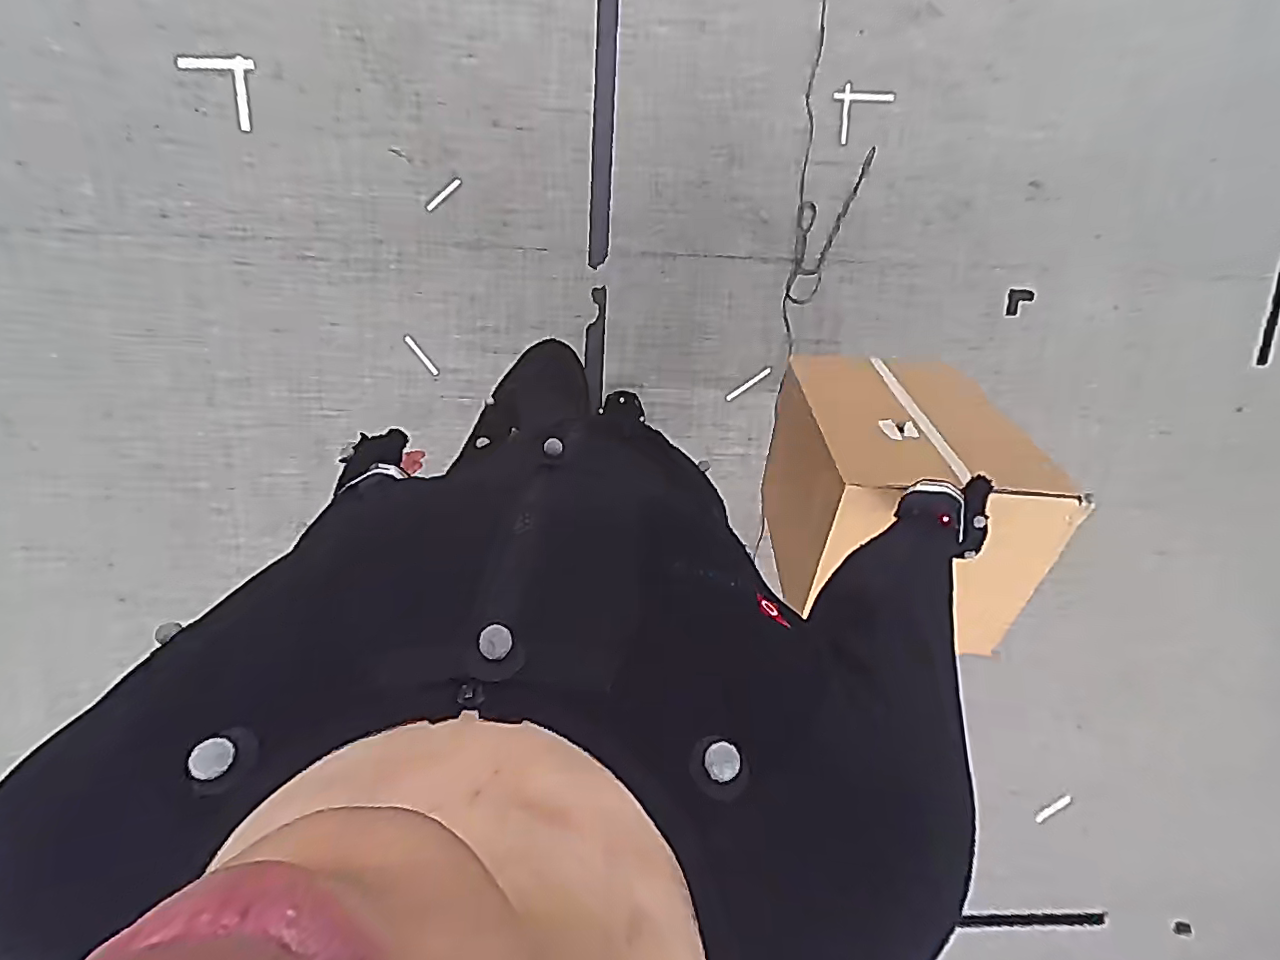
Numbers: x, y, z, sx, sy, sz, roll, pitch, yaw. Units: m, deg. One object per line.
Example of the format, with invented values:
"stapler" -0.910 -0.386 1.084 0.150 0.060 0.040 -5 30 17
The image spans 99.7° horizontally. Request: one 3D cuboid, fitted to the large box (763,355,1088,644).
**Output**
"large box" 0.420 0.018 0.936 0.320 0.408 0.320 3 128 1
